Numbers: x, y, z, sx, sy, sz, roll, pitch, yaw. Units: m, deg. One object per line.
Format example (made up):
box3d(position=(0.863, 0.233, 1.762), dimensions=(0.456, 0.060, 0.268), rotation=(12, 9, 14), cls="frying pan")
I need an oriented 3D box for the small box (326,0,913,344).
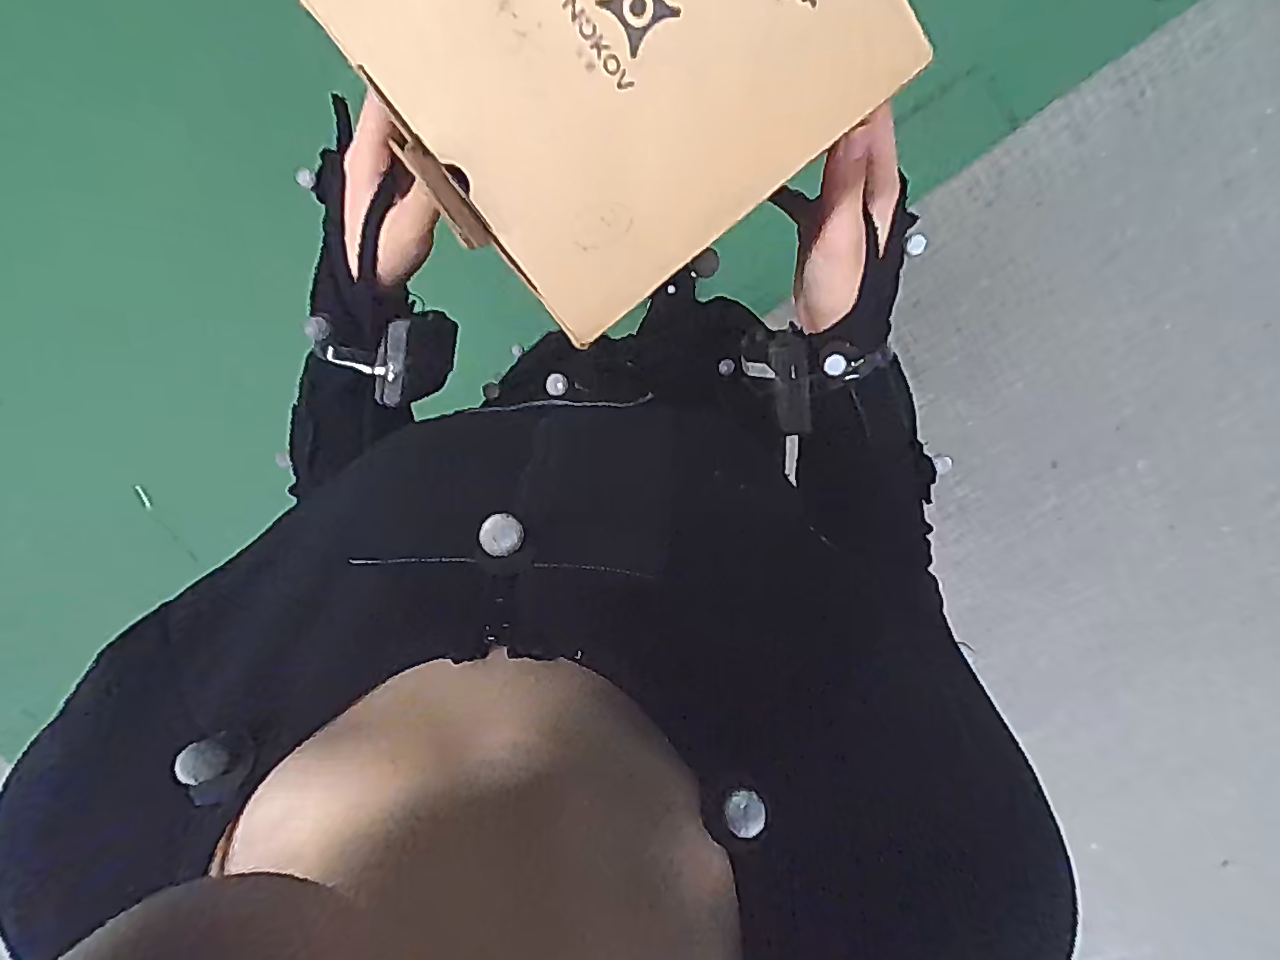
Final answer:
box3d(position=(-0.005, -0.195, 0.285), dimensions=(0.179, 0.176, 0.168), rotation=(-35, 106, 12), cls="small box")
